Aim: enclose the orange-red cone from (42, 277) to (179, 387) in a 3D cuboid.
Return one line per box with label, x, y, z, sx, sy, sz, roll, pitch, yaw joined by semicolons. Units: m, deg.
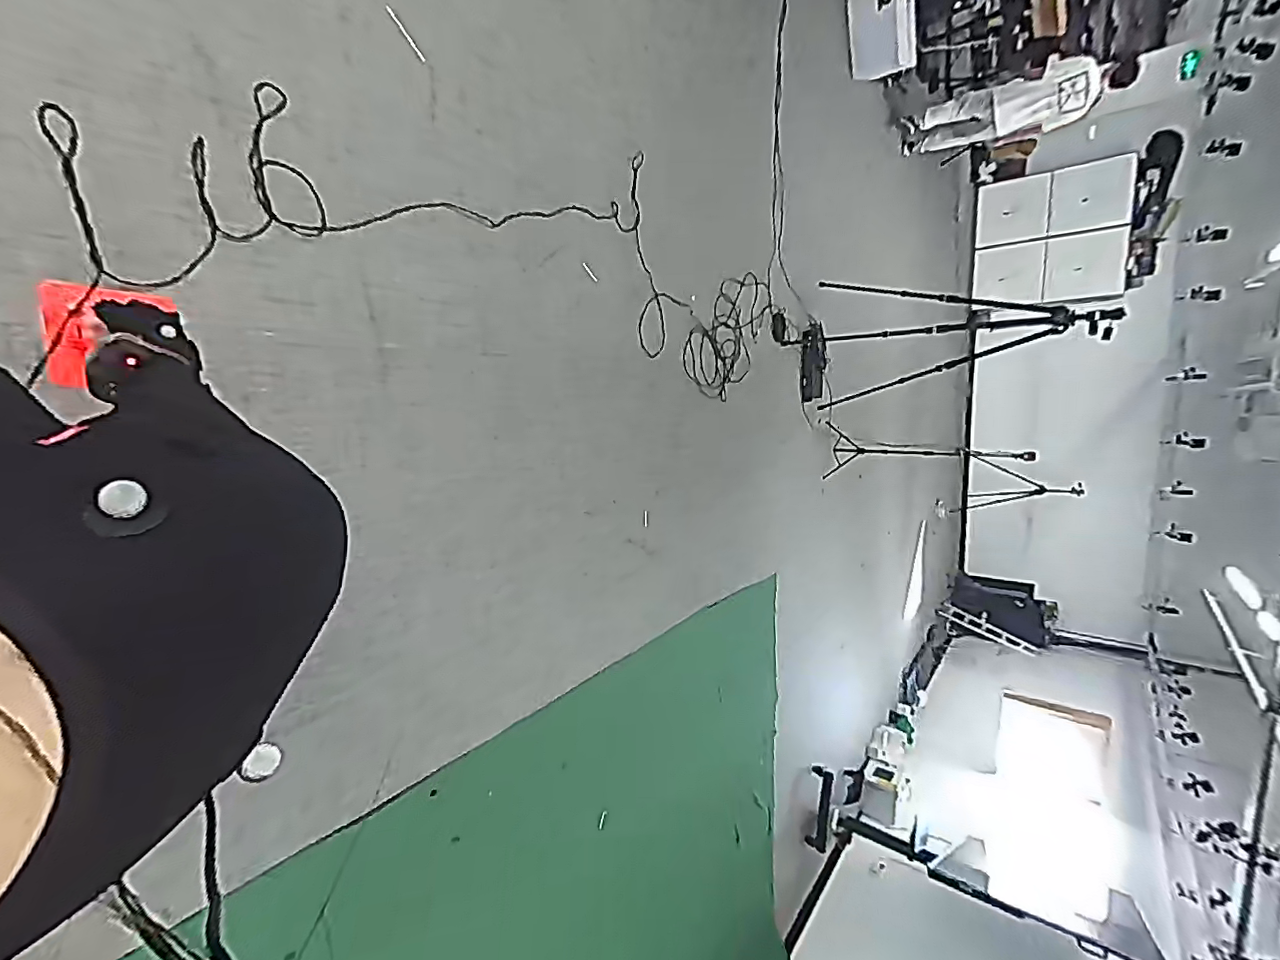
orange-red cone;-0.938;-0.279;0.990;0.198;0.360;0.199;-5;99;-50
